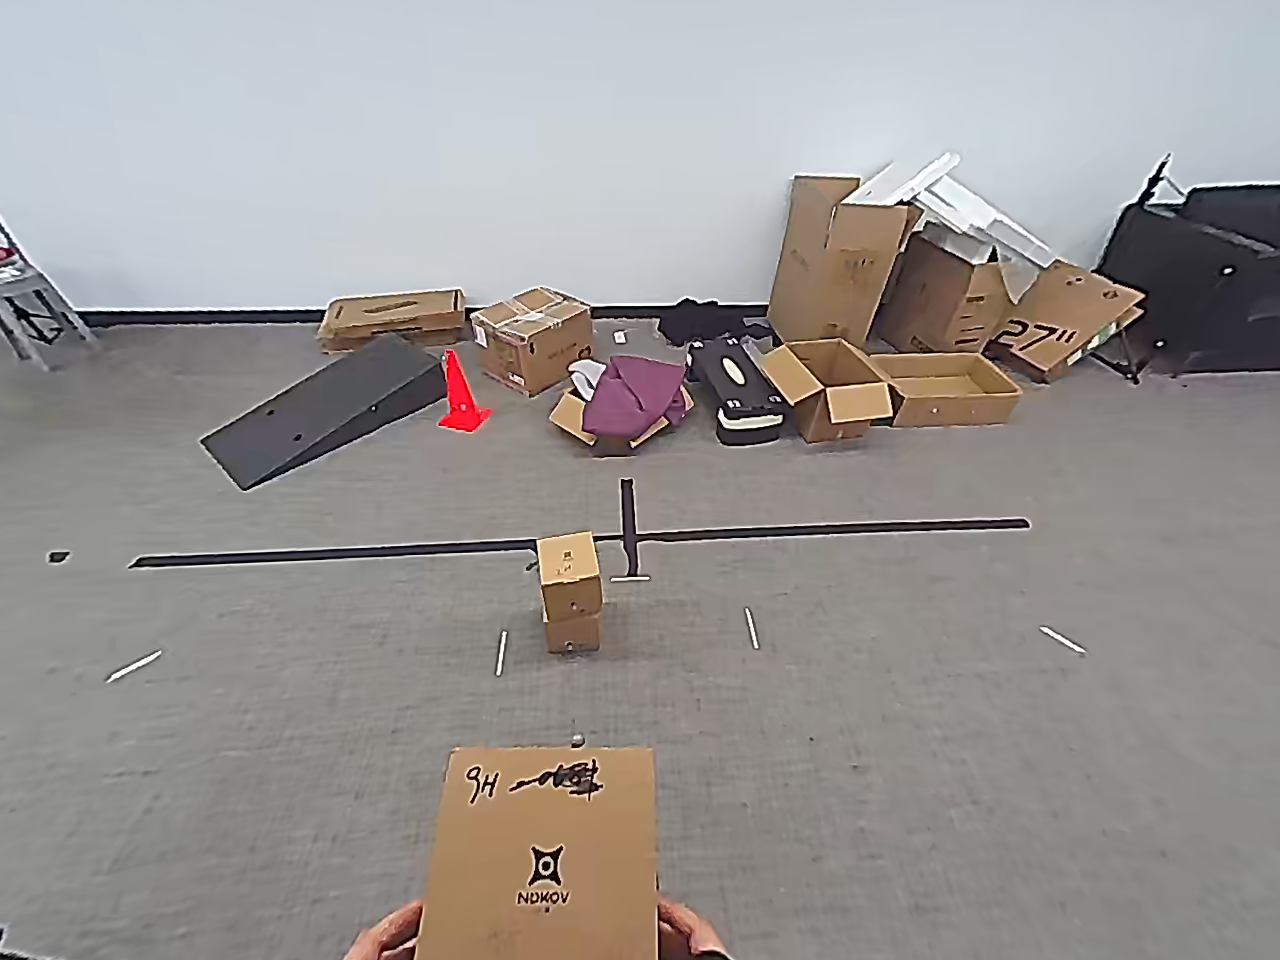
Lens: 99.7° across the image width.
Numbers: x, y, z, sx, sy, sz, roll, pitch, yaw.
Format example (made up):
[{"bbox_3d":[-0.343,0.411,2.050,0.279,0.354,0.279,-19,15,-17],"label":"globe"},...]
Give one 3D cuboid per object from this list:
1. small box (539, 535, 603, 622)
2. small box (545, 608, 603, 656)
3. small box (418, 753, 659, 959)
[{"bbox_3d":[-0.203,0.292,1.599,0.168,0.176,0.179,-9,42,-9],"label":"small box"},{"bbox_3d":[-0.207,0.425,1.698,0.168,0.176,0.179,-5,42,-6],"label":"small box"},{"bbox_3d":[-0.071,0.336,0.452,0.168,0.176,0.179,1,55,-3],"label":"small box"}]
